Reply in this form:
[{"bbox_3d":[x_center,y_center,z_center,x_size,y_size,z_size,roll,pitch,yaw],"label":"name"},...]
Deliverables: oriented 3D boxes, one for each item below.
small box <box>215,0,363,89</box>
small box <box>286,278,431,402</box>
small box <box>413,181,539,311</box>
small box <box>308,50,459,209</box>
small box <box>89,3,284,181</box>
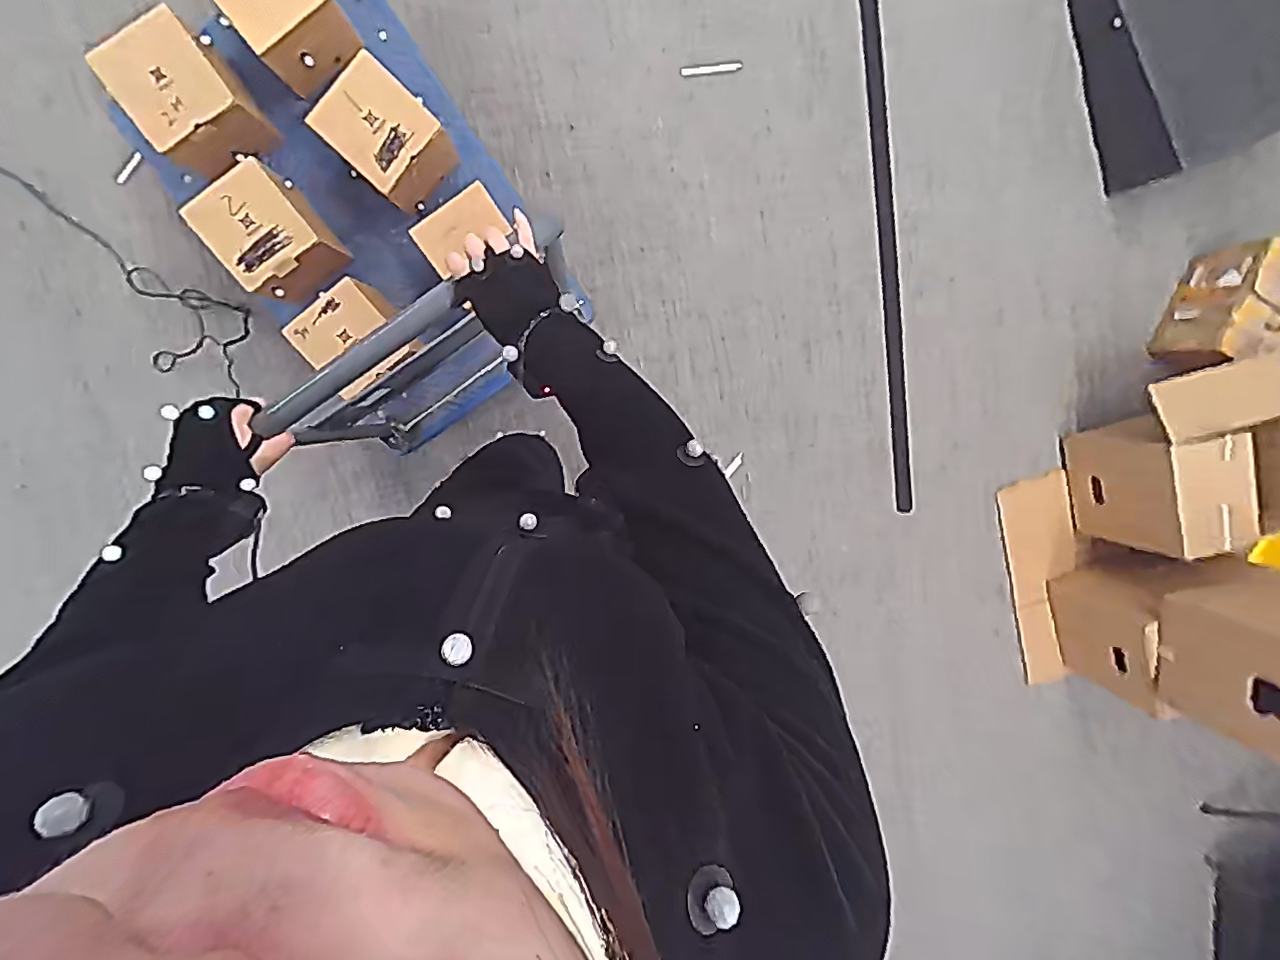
[{"bbox_3d":[-0.649,-0.861,0.984,0.168,0.176,0.179,-39,103,2],"label":"small box"},{"bbox_3d":[-0.560,-0.283,1.109,0.168,0.176,0.179,-39,103,1],"label":"small box"},{"bbox_3d":[-0.322,-0.462,1.105,0.168,0.176,0.179,-35,103,0],"label":"small box"},{"bbox_3d":[-0.480,-0.656,1.045,0.179,0.176,0.168,42,94,-12],"label":"small box"},{"bbox_3d":[-0.816,-0.696,0.995,0.168,0.176,0.179,-34,104,1],"label":"small box"}]
